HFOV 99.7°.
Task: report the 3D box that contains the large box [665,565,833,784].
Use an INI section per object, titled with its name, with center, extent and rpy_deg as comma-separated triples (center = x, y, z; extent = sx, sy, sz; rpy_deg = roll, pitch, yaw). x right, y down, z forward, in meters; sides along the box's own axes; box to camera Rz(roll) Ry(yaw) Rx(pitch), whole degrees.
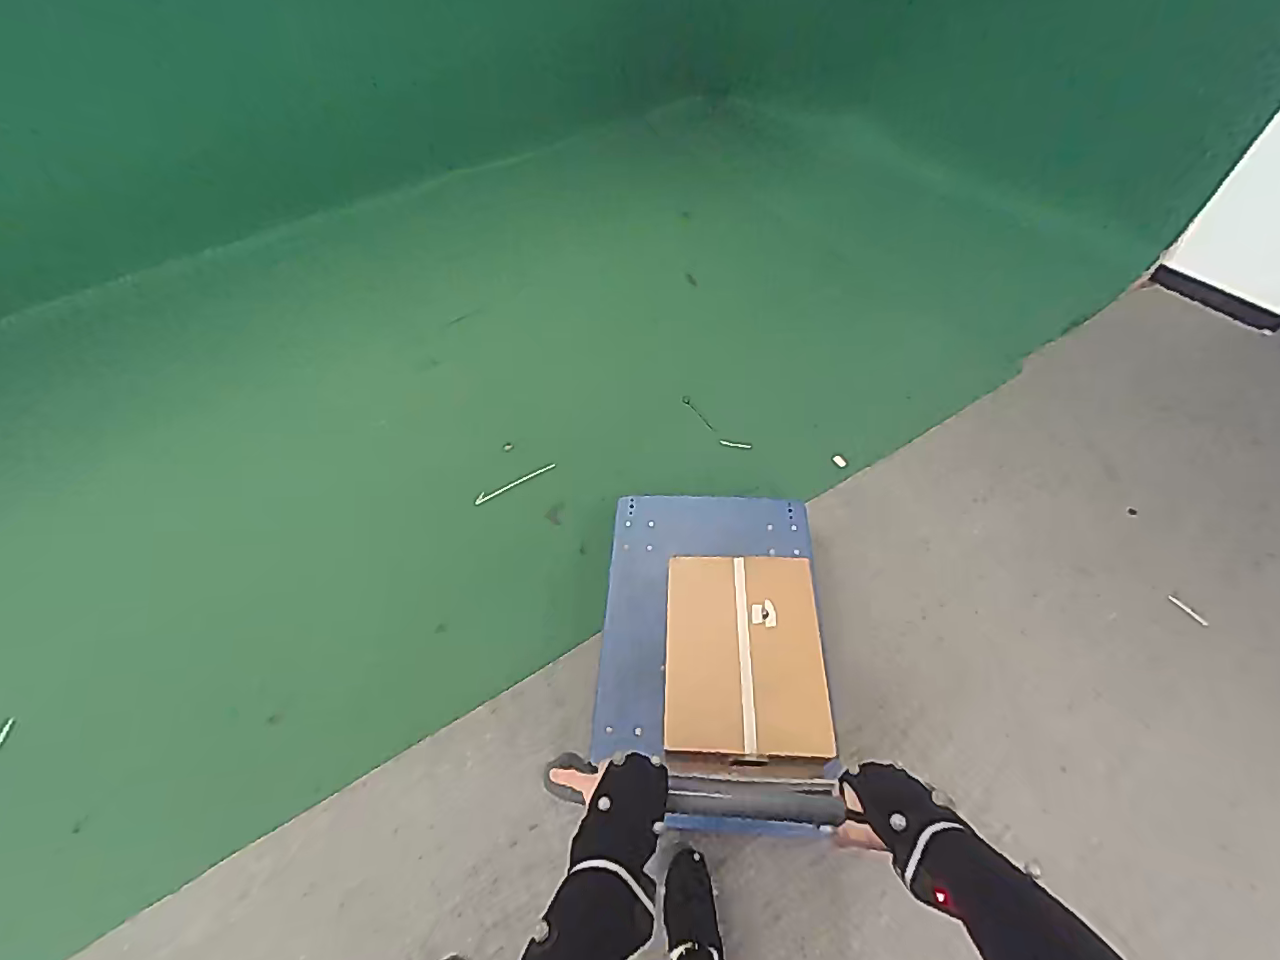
[large box]
center = 0.222, 0.445, 1.236
extent = 0.320, 0.320, 0.408
rpy_deg = 1, 53, 4
